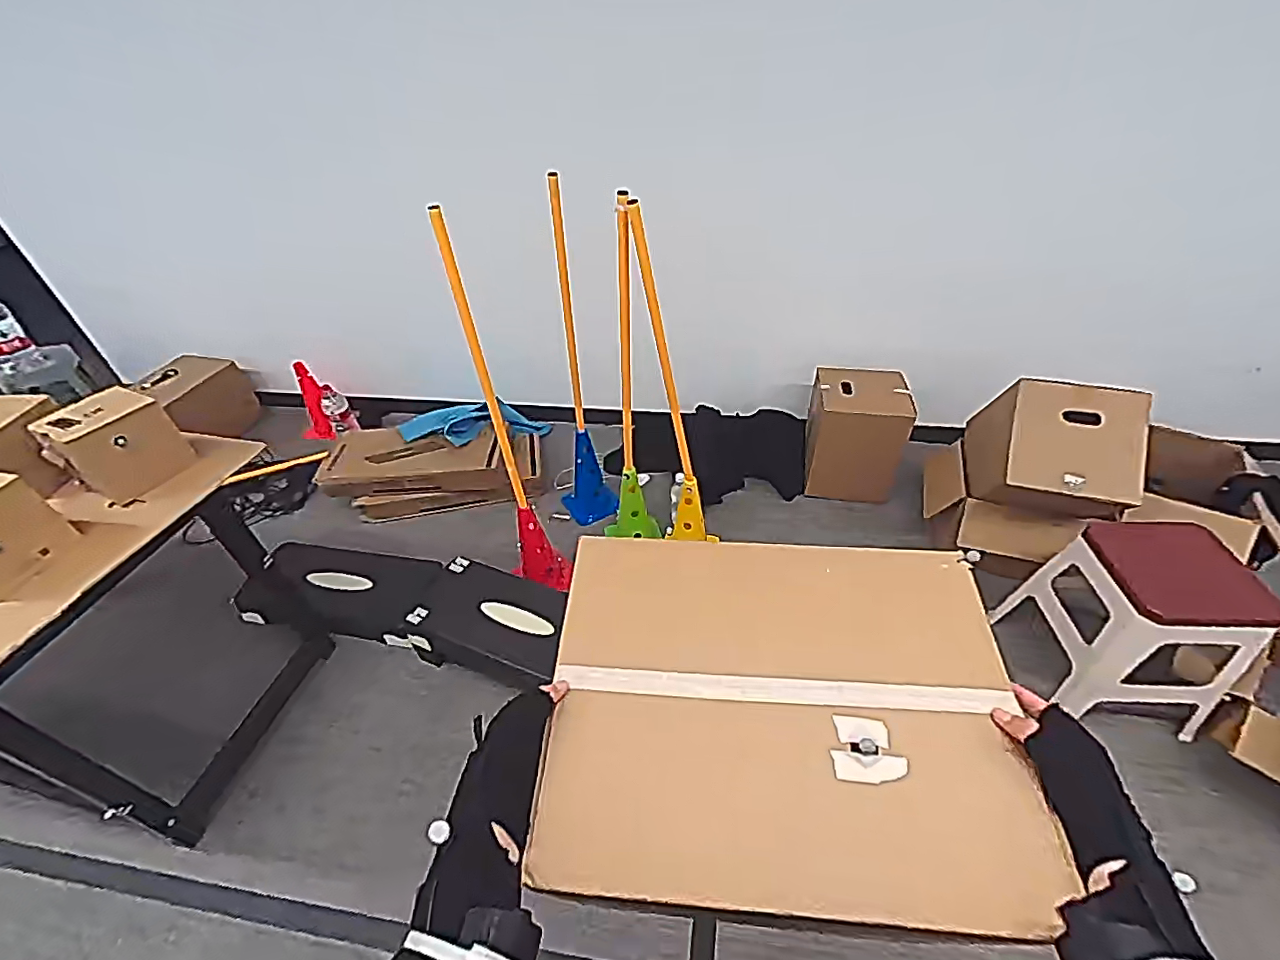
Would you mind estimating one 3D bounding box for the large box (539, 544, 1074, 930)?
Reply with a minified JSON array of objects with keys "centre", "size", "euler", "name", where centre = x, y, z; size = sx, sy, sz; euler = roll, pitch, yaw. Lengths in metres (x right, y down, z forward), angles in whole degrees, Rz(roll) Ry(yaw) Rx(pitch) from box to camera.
[{"centre":[0.132,0.290,0.610],"size":[0.408,0.320,0.320],"euler":[2,51,5],"name":"large box"}]
